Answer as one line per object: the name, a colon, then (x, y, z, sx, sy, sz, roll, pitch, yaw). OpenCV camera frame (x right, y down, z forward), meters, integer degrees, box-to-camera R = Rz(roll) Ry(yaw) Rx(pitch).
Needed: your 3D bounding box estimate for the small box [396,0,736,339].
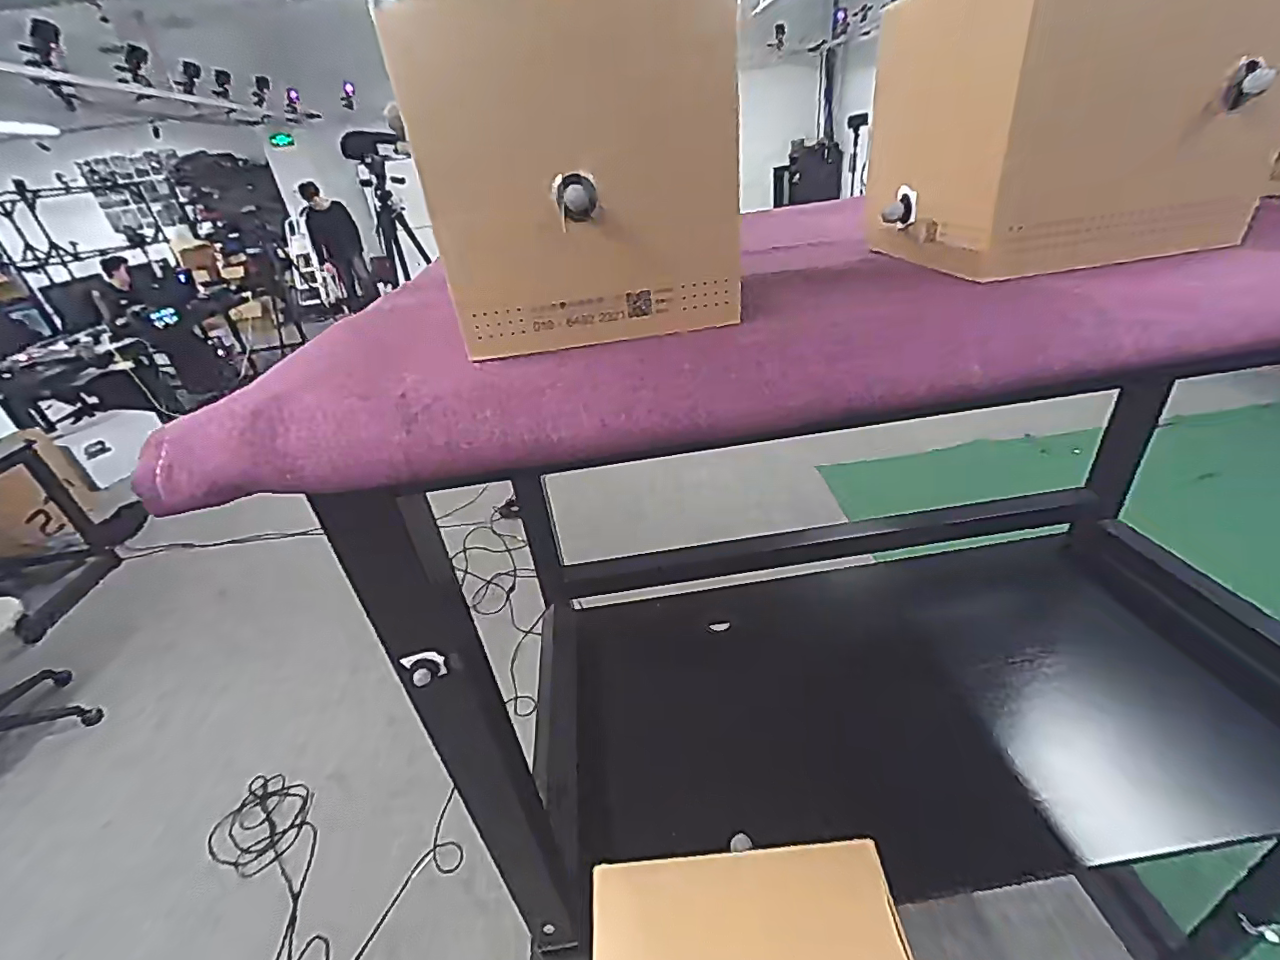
small box: (-0.034, -0.199, 0.363, 0.168, 0.176, 0.179, -8, 31, -3)

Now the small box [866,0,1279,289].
small box: (0.283, -0.245, 0.382, 0.179, 0.176, 0.168, -9, 30, -2)
